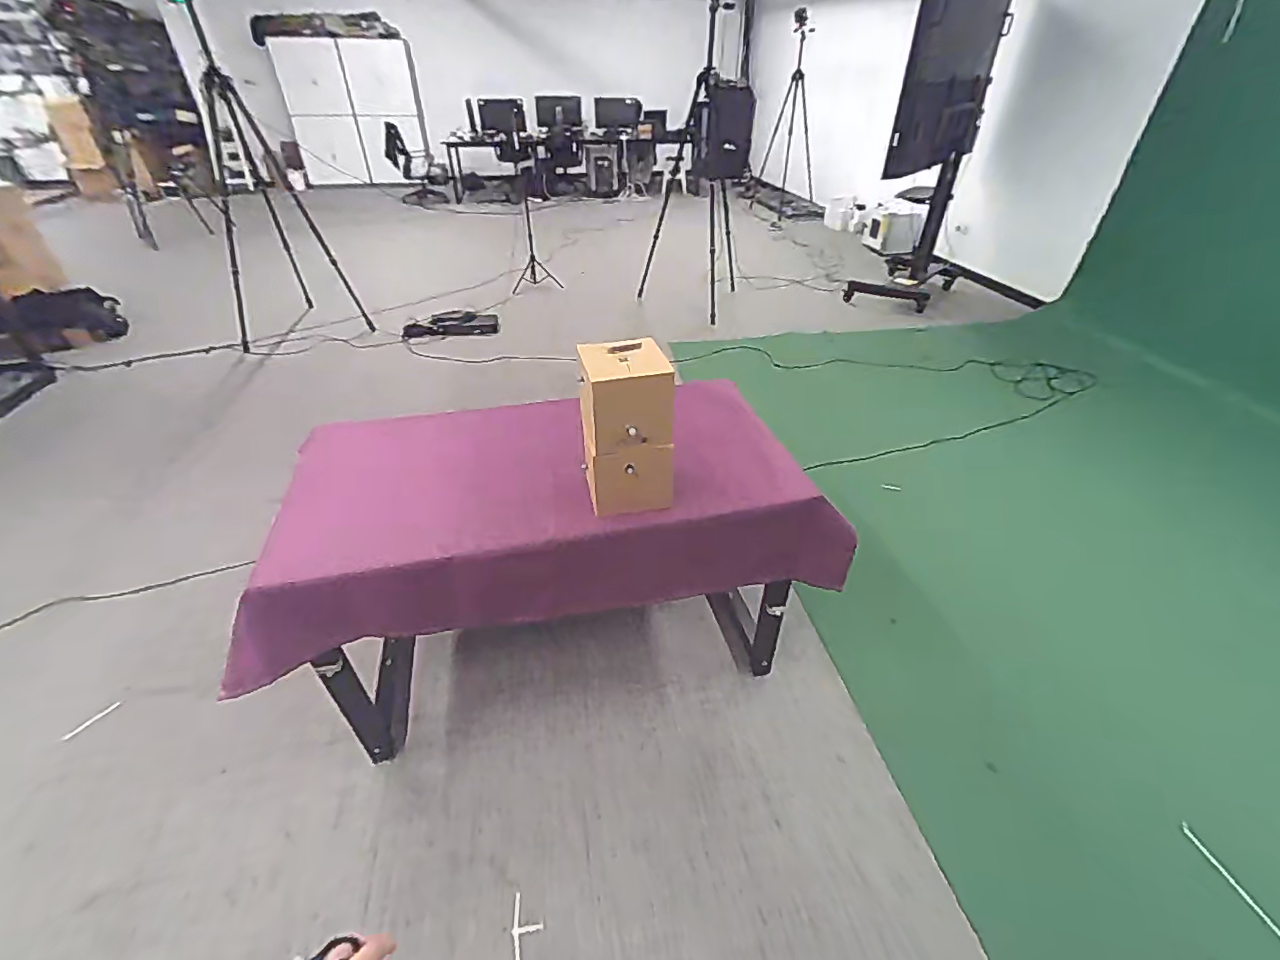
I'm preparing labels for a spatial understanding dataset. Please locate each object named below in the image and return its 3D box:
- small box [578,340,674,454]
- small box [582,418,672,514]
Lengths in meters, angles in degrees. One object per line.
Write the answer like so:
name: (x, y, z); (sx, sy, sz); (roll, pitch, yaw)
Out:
small box: (-0.033, -0.175, 1.125); (0.168, 0.176, 0.179); (-9, 38, -11)
small box: (-0.031, -0.038, 1.217); (0.179, 0.176, 0.168); (-7, 38, -9)
